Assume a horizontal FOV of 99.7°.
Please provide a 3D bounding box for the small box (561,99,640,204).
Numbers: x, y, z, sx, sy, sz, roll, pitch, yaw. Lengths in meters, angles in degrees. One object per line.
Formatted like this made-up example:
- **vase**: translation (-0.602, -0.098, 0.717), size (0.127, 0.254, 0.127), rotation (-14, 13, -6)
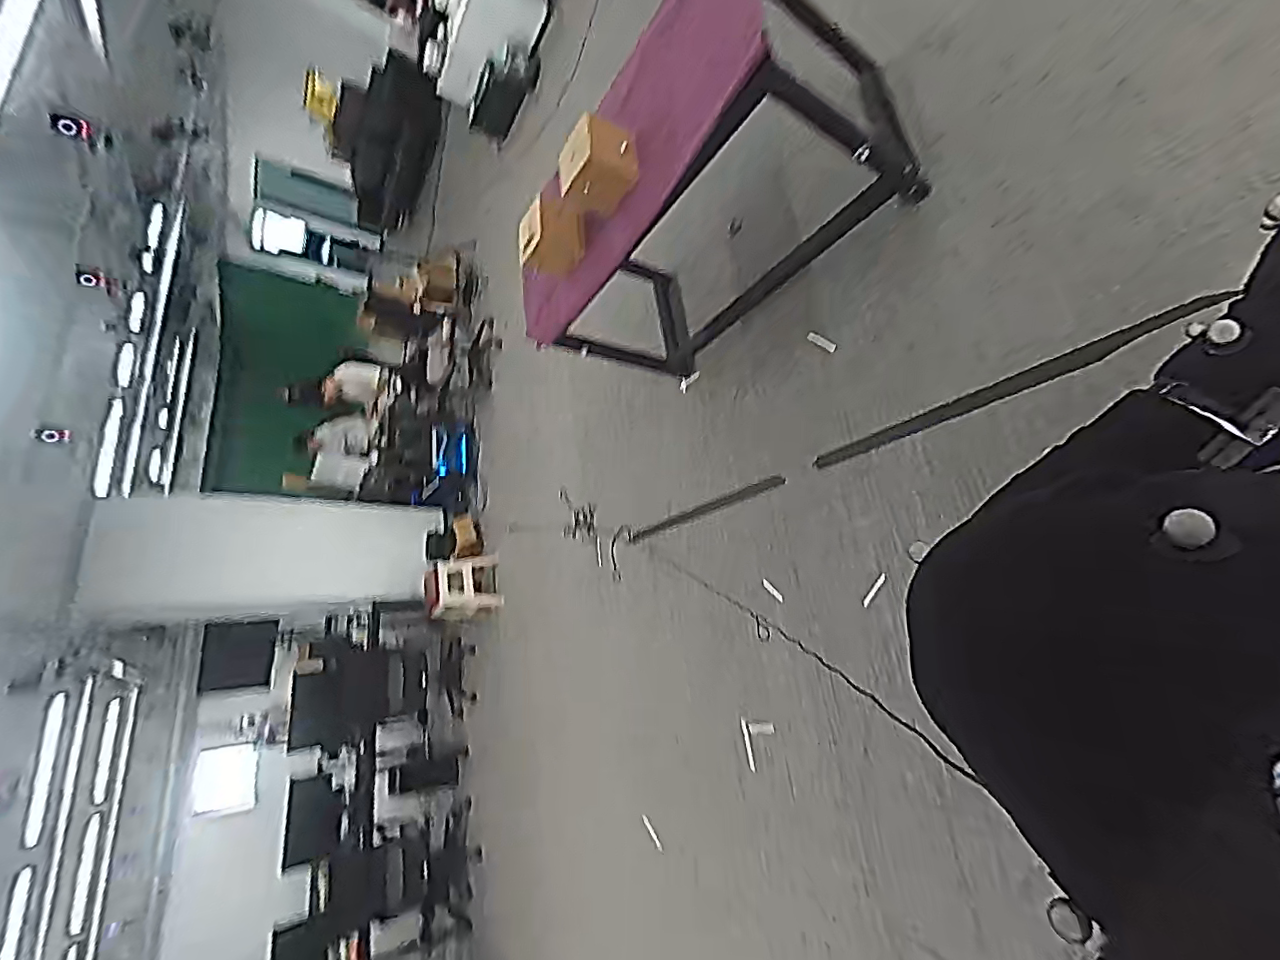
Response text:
- **small box**: translation (-0.120, -0.961, 1.601), size (0.179, 0.176, 0.168), rotation (-26, 65, 50)
